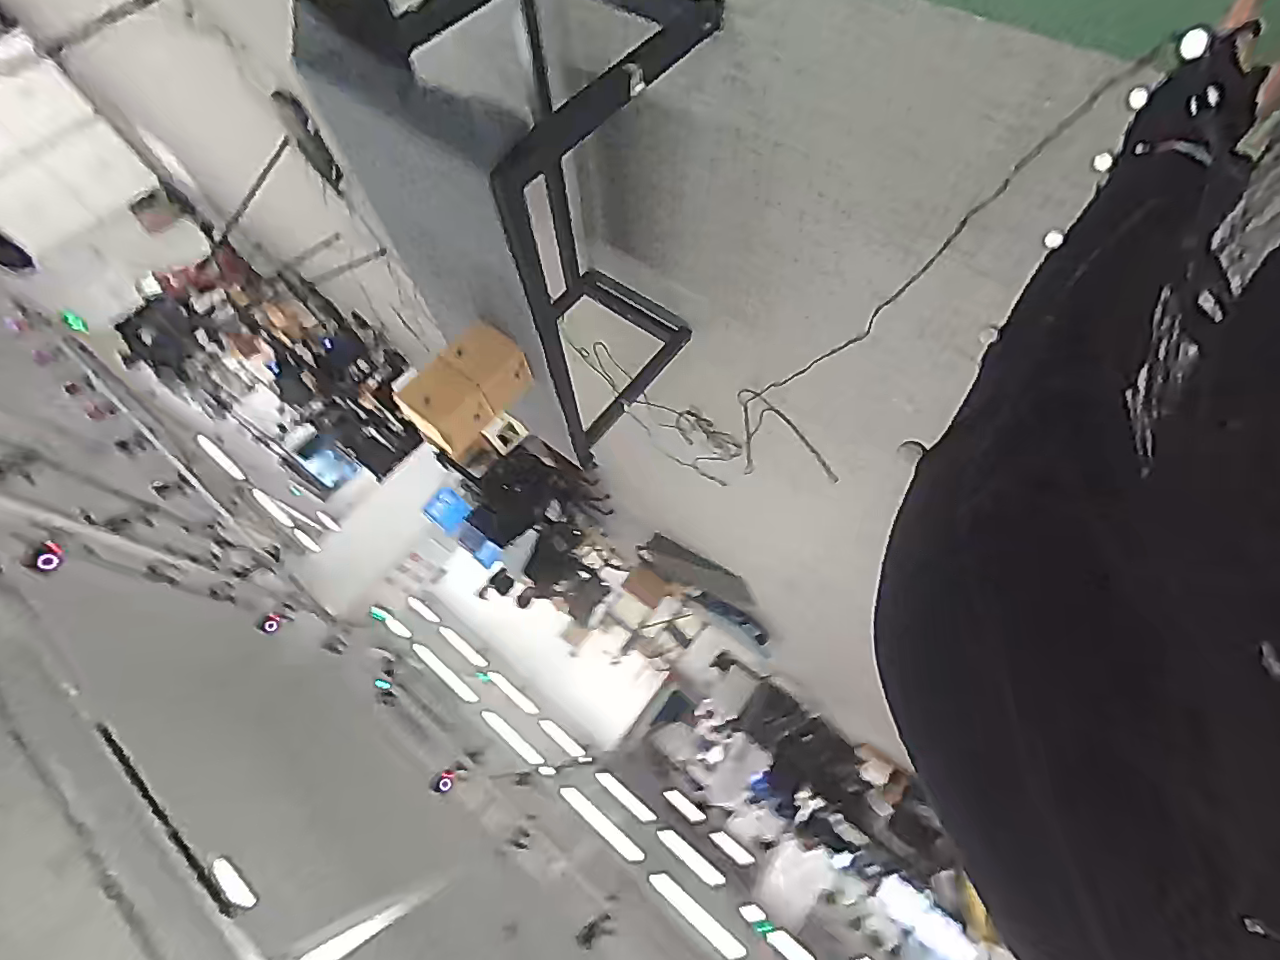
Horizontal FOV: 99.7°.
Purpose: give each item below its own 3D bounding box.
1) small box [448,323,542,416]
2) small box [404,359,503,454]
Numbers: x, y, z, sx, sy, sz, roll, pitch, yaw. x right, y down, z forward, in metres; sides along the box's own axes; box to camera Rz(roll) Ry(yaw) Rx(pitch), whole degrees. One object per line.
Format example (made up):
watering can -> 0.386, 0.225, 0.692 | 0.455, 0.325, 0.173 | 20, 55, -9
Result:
small box -> -0.417, -0.329, 1.583 | 0.179, 0.176, 0.168 | 36, 162, 19
small box -> -0.521, -0.214, 1.534 | 0.179, 0.176, 0.168 | 36, 161, 19
